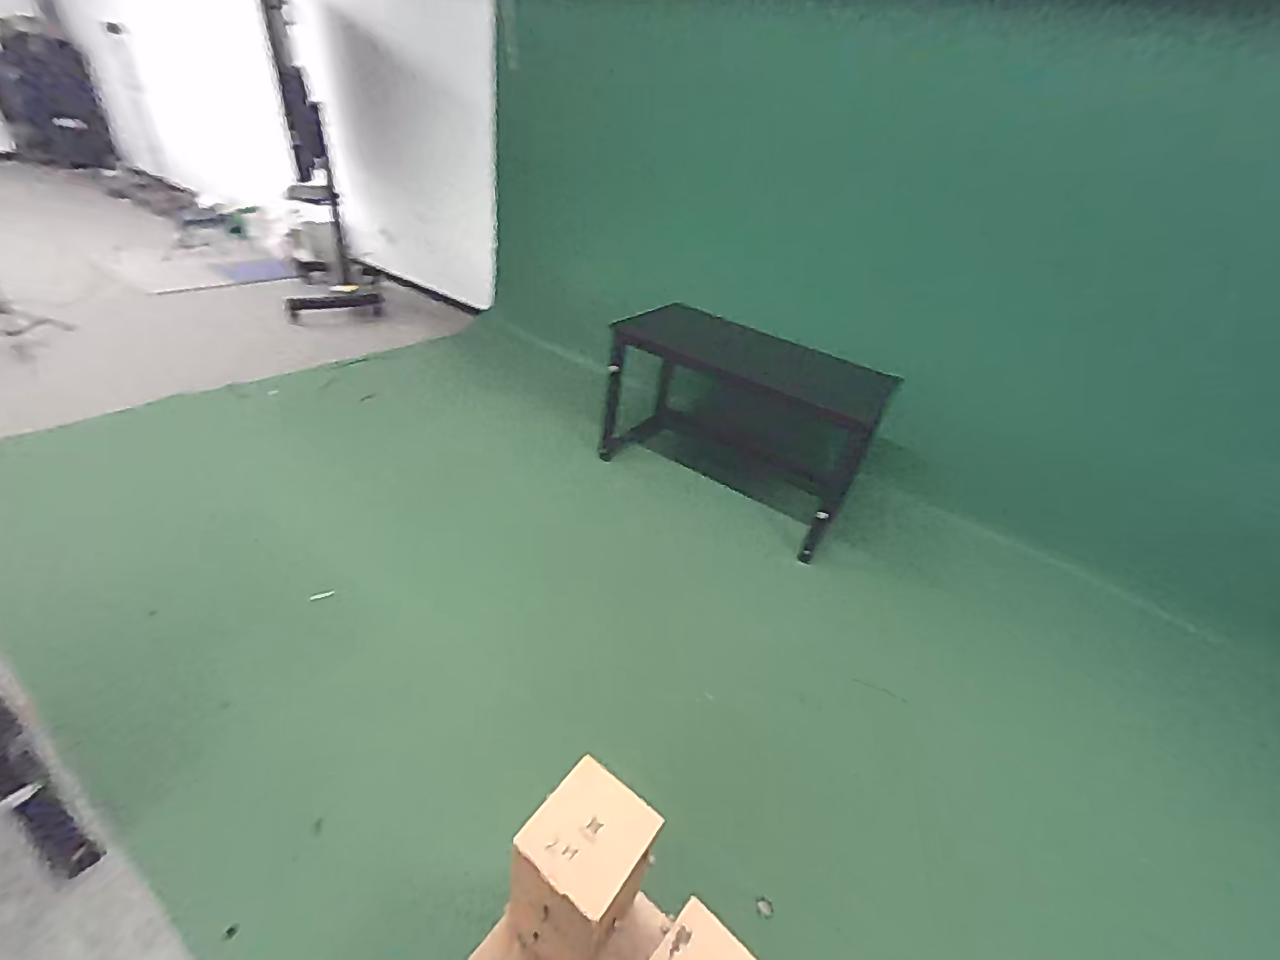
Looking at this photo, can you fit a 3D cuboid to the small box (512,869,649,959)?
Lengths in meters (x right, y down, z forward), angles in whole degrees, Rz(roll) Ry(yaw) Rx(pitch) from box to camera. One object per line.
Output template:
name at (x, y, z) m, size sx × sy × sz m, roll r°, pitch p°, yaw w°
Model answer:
small box at (-0.111, 0.736, 0.953) m, size 0.168 × 0.176 × 0.179 m, roll 29°, pitch 38°, yaw 26°

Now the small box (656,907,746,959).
small box at (0.089, 0.838, 0.846) m, size 0.179 × 0.176 × 0.168 m, roll 32°, pitch 38°, yaw 30°

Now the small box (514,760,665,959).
small box at (-0.086, 0.602, 0.860) m, size 0.168 × 0.176 × 0.179 m, roll 28°, pitch 37°, yaw 25°
